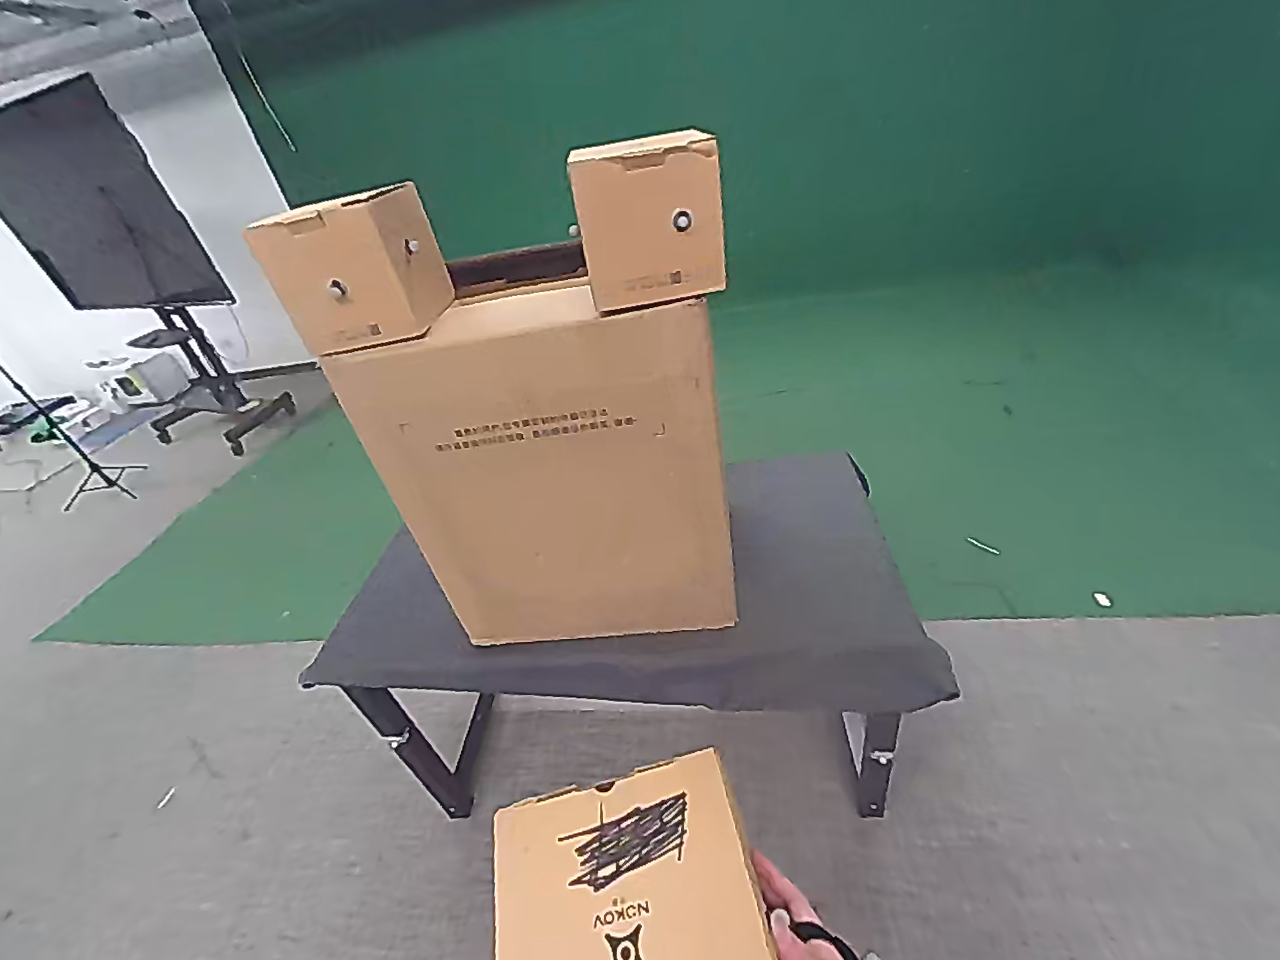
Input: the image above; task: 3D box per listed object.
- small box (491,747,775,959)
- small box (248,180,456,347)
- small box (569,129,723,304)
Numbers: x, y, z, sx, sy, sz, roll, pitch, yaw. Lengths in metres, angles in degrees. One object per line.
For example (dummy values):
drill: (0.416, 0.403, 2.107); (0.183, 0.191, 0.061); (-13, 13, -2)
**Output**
small box: (0.005, 0.324, 0.385); (0.168, 0.176, 0.179); (-17, 46, 2)
small box: (-0.381, -0.298, 0.757); (0.168, 0.176, 0.179); (-9, 36, 6)
small box: (0.010, -0.334, 0.694); (0.168, 0.176, 0.179); (-8, 35, 1)
